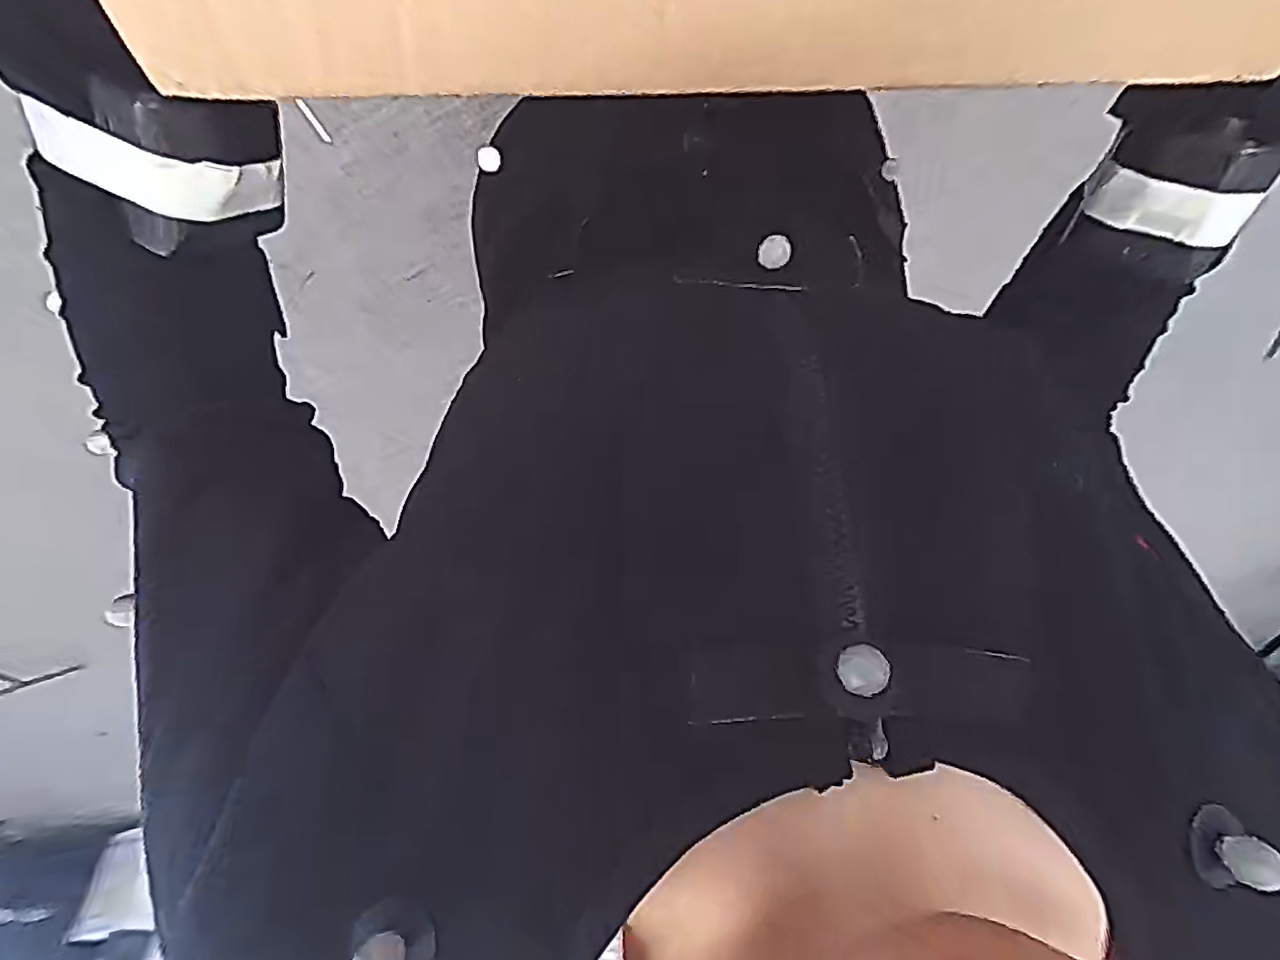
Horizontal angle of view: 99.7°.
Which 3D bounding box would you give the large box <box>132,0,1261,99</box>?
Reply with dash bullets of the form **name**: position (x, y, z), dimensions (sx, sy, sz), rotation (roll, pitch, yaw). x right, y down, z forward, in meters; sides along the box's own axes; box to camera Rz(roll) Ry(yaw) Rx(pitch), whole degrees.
- **large box**: position (0.021, -0.362, 0.173), dimensions (0.408, 0.320, 0.320), rotation (-5, 141, -5)
